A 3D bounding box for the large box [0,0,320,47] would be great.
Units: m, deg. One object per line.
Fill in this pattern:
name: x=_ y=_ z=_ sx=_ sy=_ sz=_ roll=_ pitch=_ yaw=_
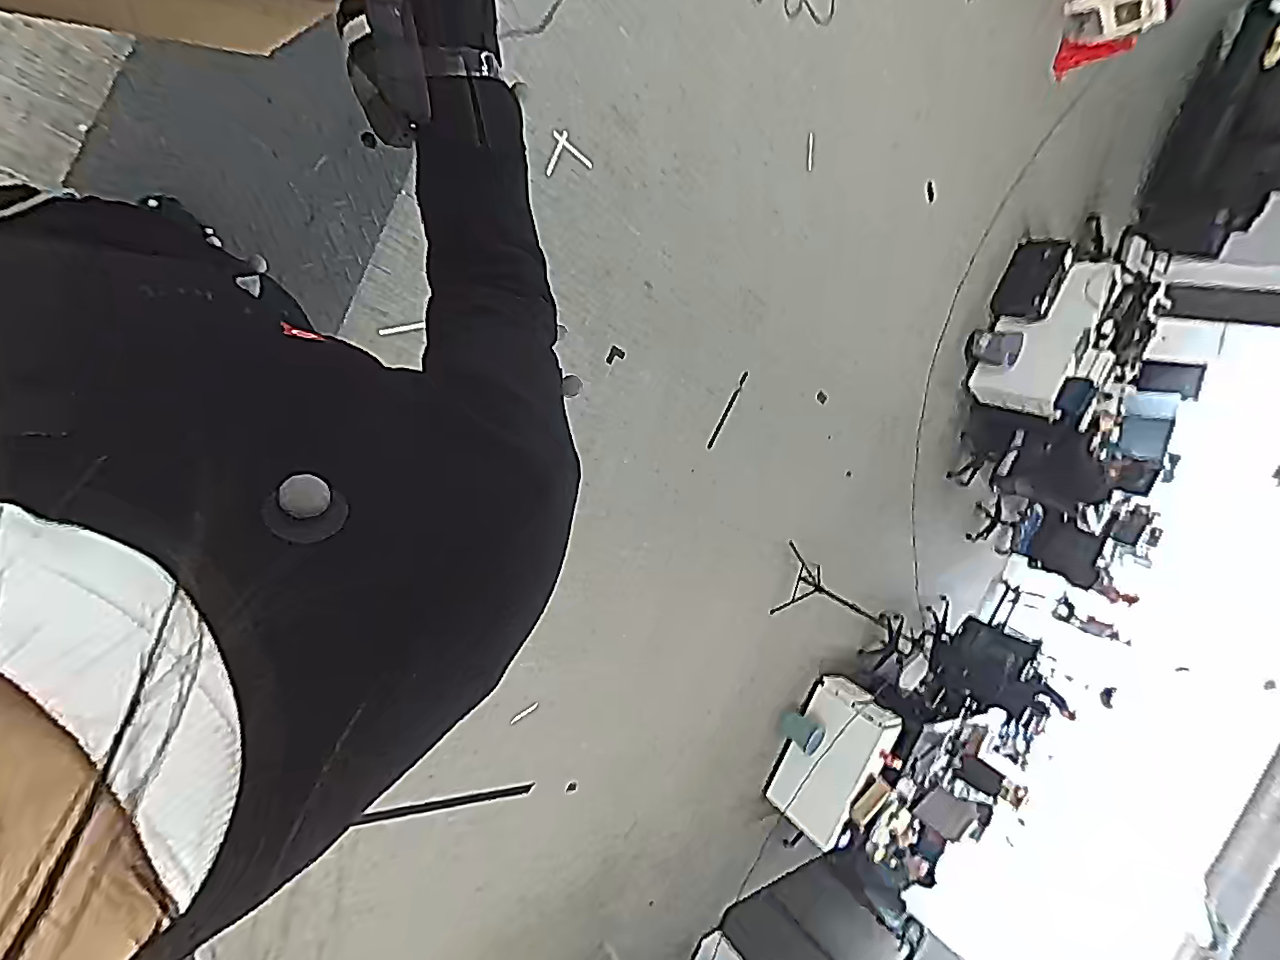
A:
large box: x=-0.397 y=-0.418 z=0.216 sx=0.408 sy=0.320 sz=0.320 roll=-20 pitch=127 yaw=-36
